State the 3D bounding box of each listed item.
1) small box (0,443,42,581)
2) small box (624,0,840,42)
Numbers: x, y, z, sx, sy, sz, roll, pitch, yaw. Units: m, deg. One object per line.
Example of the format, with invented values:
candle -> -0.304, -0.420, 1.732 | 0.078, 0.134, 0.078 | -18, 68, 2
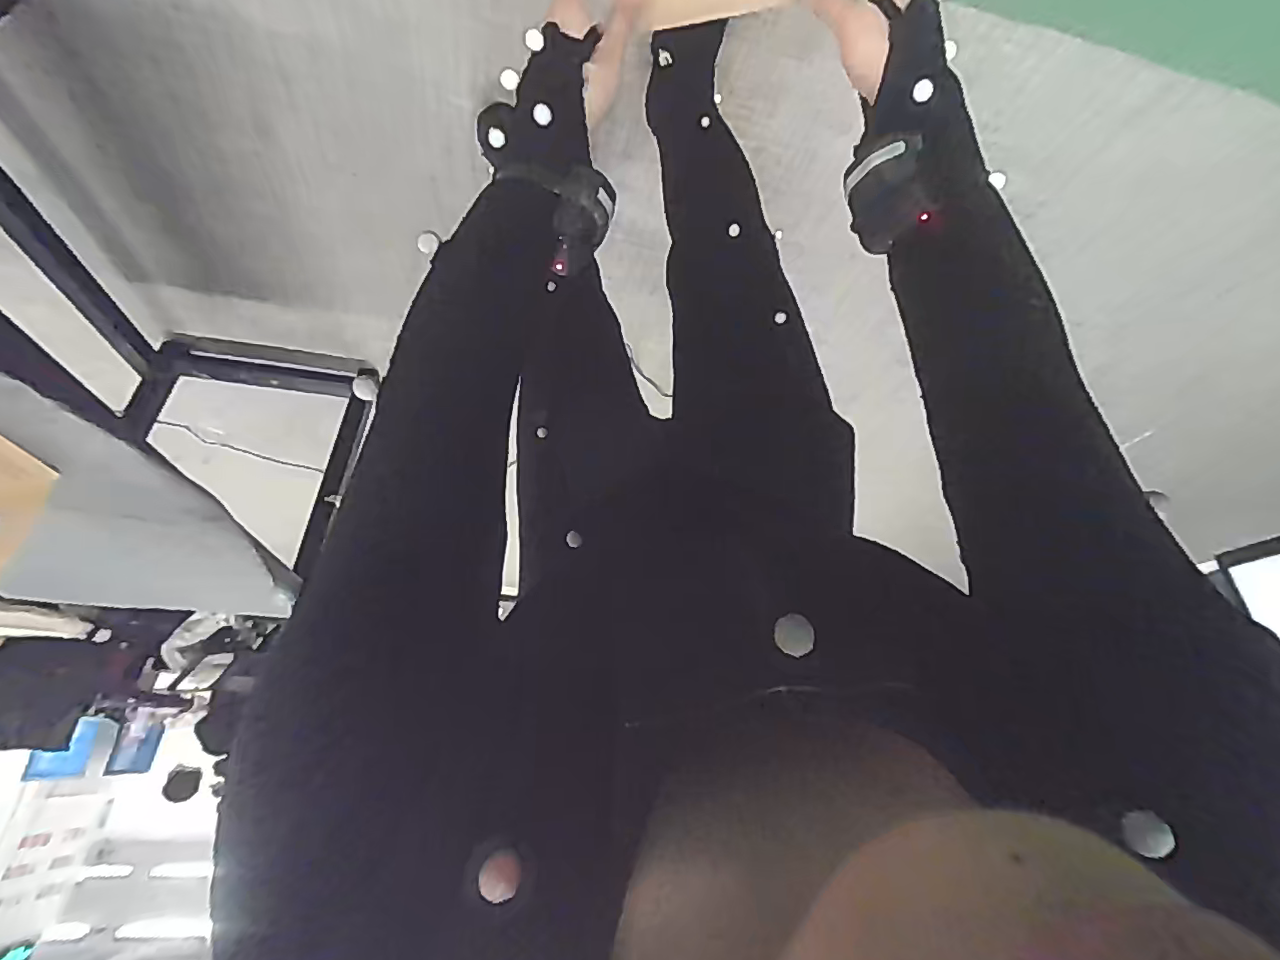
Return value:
small box -> -0.779, 0.020, 0.543 | 0.179, 0.176, 0.168 | 9, 152, -10
small box -> 0.065, -0.482, 0.408 | 0.179, 0.176, 0.168 | -3, 153, 10
